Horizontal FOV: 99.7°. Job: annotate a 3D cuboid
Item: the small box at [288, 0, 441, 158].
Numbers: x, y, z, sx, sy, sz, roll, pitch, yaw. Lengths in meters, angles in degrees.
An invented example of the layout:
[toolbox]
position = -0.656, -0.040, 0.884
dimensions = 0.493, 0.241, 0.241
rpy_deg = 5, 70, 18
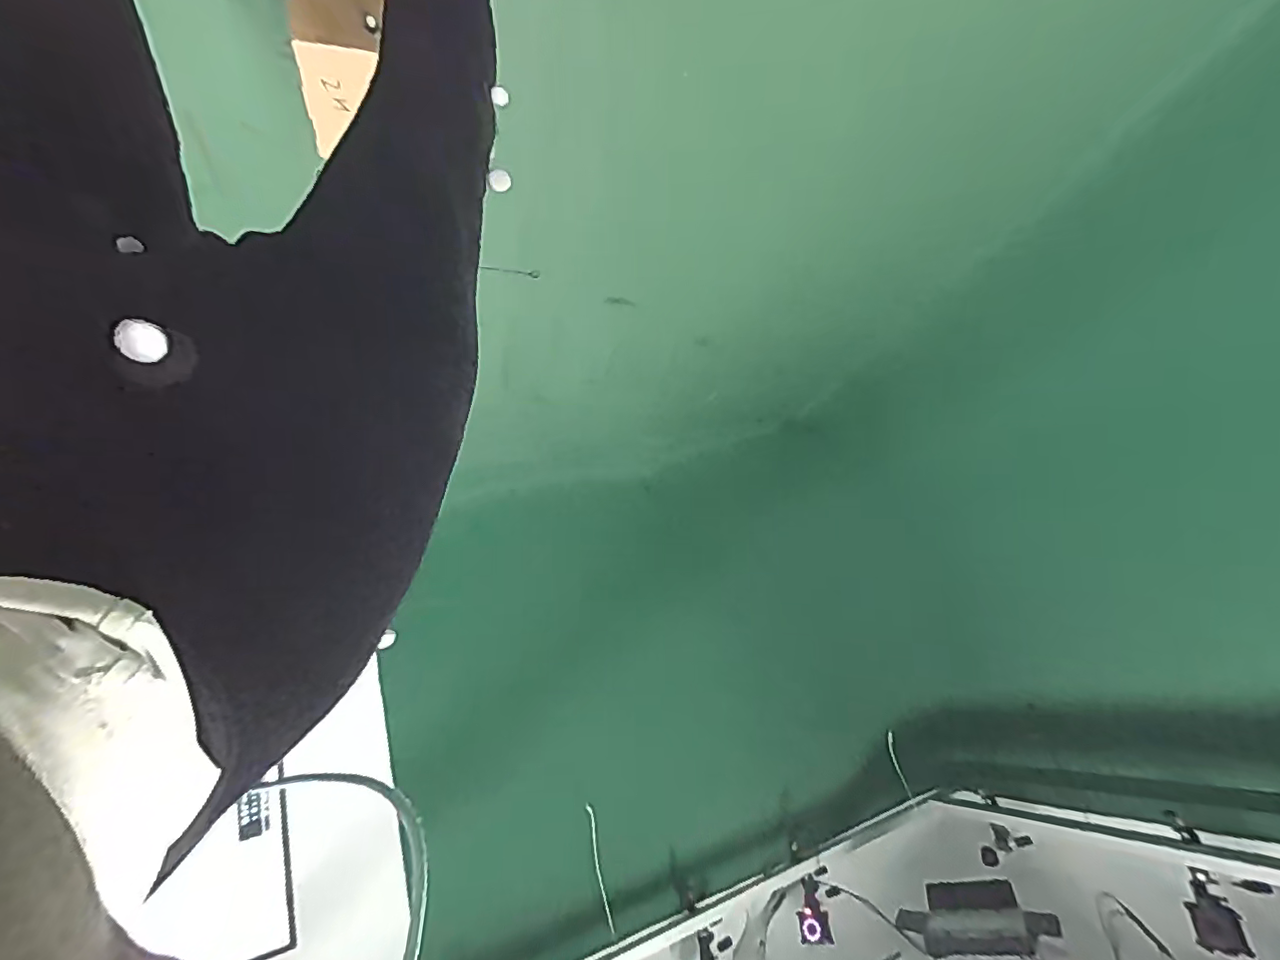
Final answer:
[small box]
position = -0.396, -0.608, 0.789
dimensions = 0.179, 0.176, 0.168
rpy_deg = -9, 161, -22
